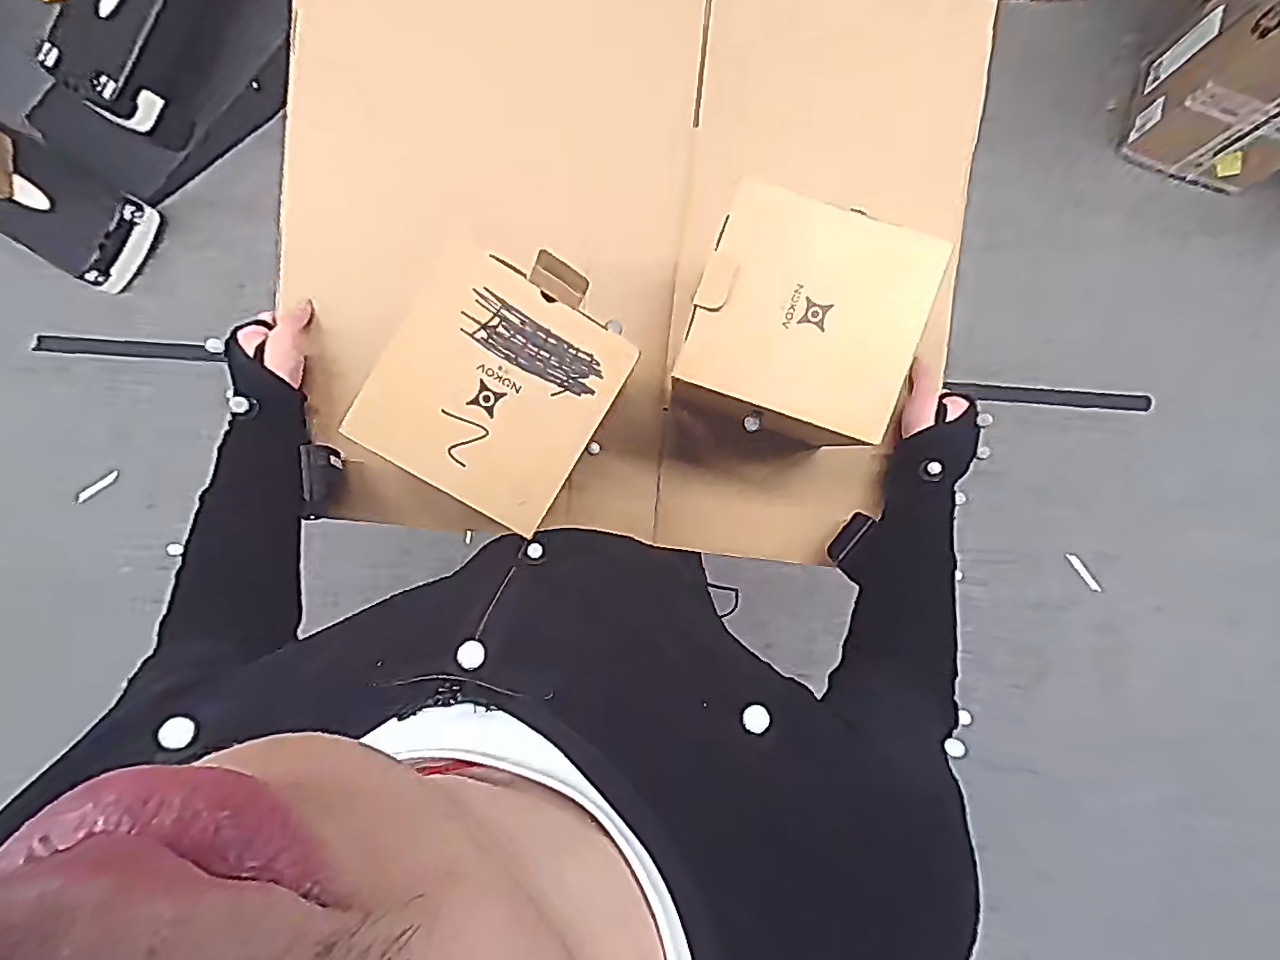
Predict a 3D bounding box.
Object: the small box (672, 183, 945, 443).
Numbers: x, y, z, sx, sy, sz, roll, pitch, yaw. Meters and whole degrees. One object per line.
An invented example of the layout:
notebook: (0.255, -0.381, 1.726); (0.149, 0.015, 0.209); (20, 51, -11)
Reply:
small box: (0.140, -0.142, 0.516); (0.179, 0.176, 0.168); (19, 95, 4)
